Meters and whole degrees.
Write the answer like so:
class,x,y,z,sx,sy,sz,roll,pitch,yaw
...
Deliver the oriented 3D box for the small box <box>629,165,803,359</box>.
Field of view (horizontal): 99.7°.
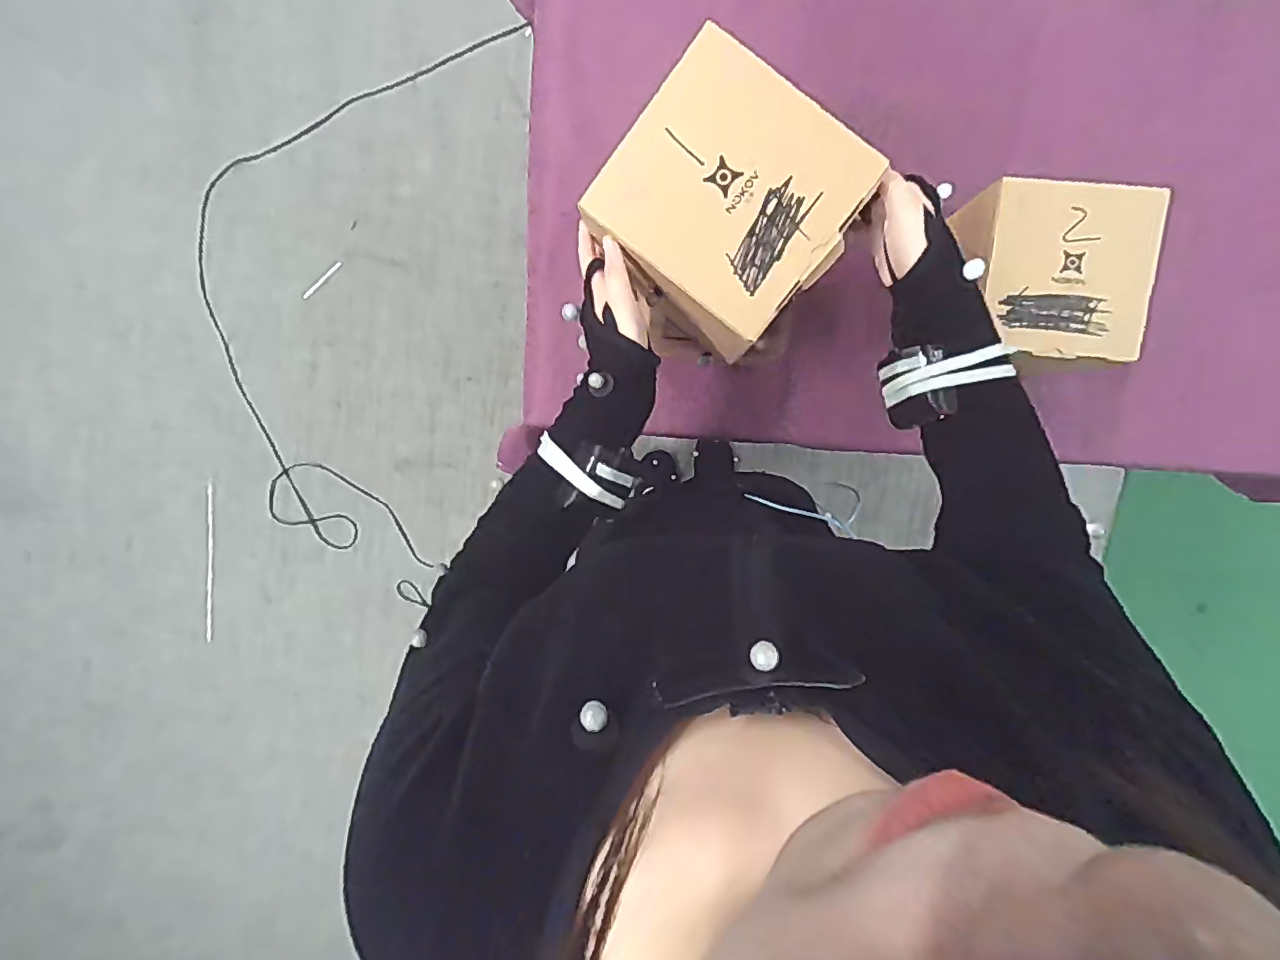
class,x,y,z,sx,sy,sz,roll,pitch,yaw
small box,0.083,-0.246,0.654,0.168,0.176,0.179,7,98,1
